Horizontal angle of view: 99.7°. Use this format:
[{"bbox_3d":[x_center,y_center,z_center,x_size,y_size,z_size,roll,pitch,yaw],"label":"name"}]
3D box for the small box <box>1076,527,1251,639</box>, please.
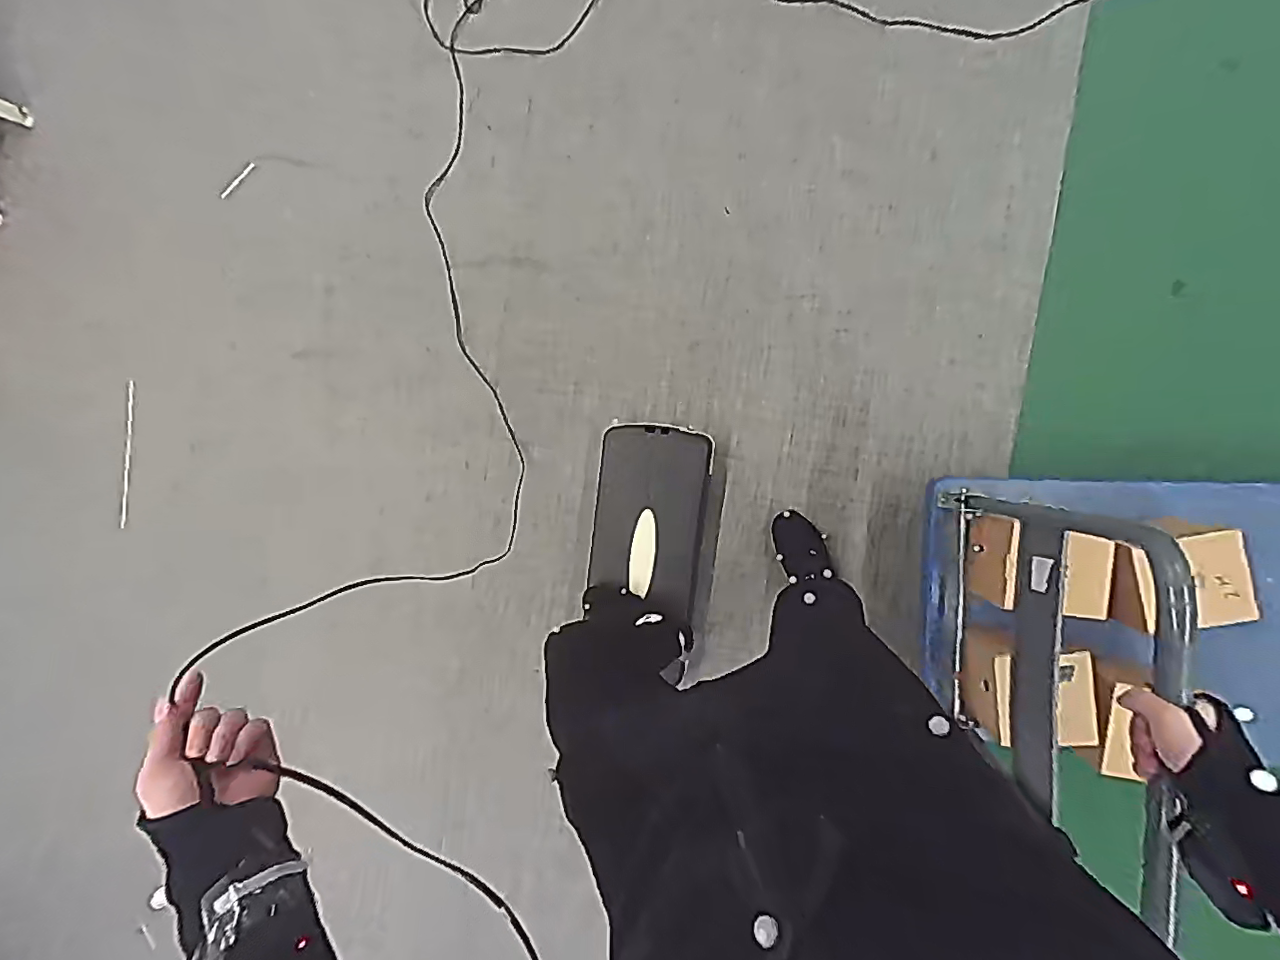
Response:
[{"bbox_3d":[0.980,0.190,1.035,0.179,0.176,0.168,-11,90,9],"label":"small box"}]
